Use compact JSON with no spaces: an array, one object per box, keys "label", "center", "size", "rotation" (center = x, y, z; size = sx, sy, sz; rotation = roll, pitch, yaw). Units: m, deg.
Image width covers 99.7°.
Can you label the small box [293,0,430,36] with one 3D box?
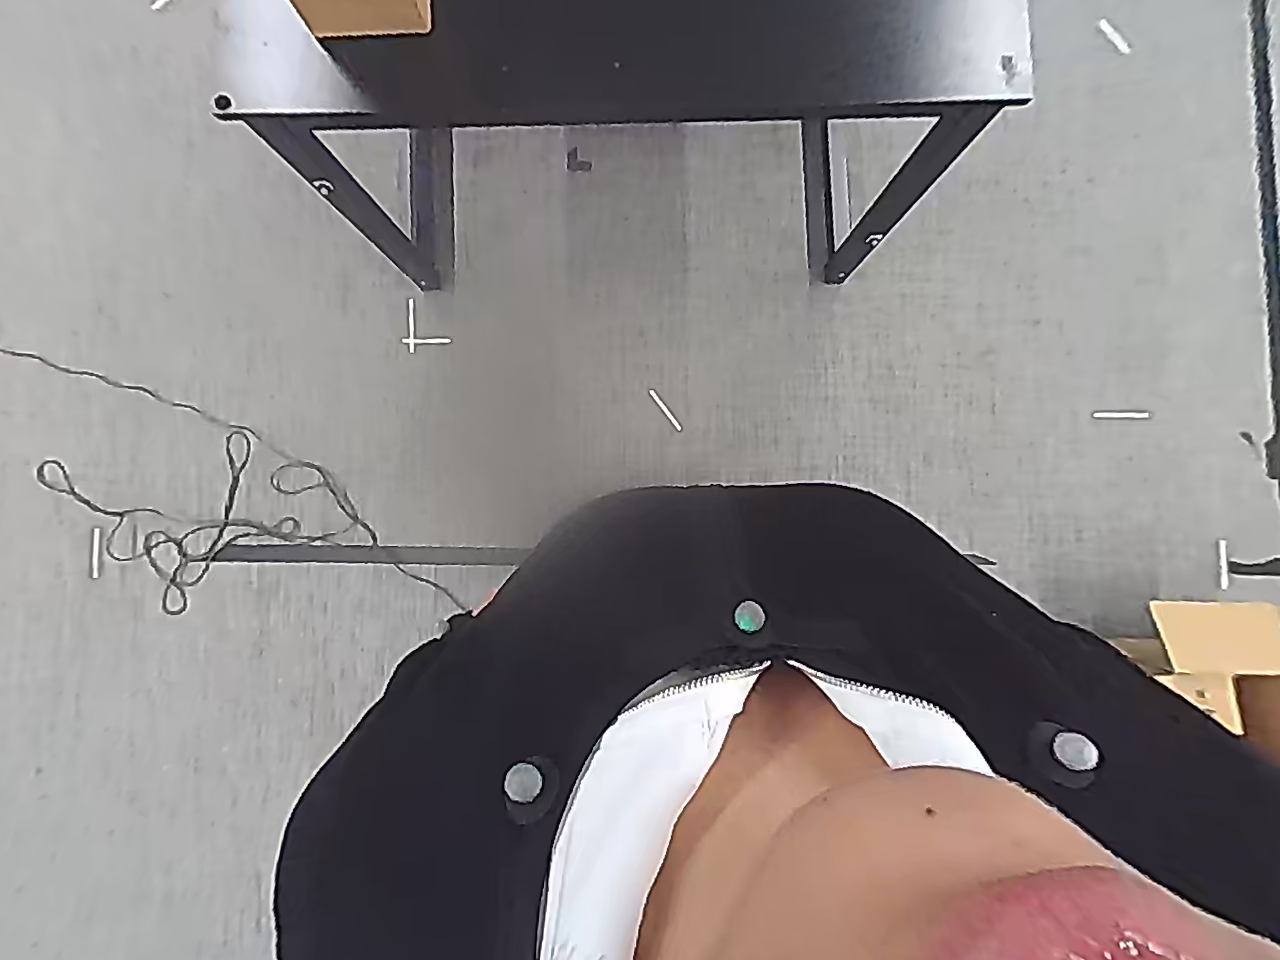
[{"label":"small box","center":[-0.401,-0.742,0.725],"size":[0.179,0.176,0.168],"rotation":[-3,88,0]}]
